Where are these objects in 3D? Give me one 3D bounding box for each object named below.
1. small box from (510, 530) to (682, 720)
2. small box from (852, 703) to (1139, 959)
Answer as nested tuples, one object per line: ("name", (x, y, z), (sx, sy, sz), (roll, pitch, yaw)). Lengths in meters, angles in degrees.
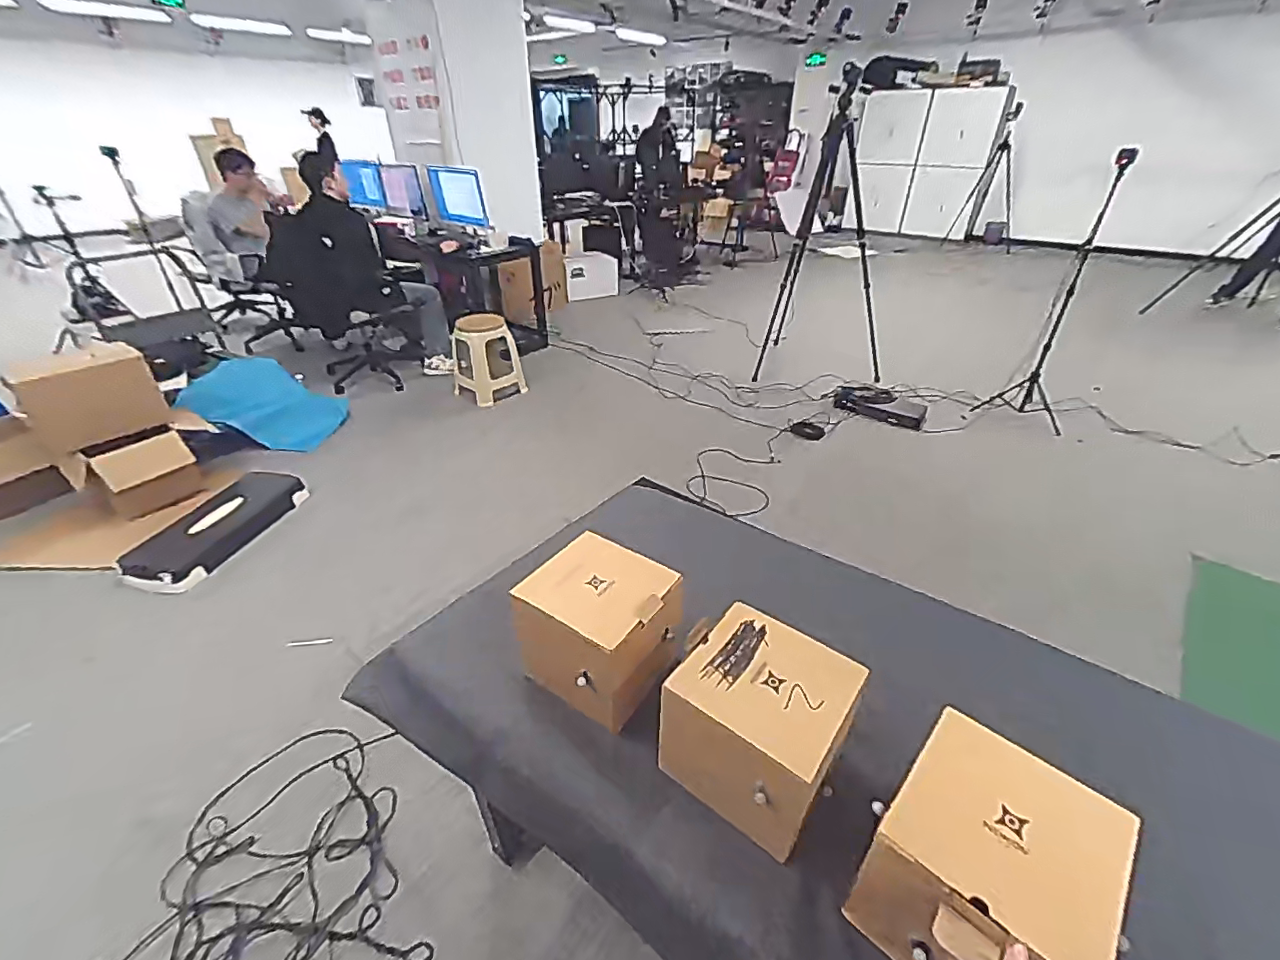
("small box", (-0.056, 0.205, 0.770), (0.179, 0.176, 0.168), (20, 37, 29))
("small box", (0.327, 0.366, 0.519), (0.168, 0.176, 0.179), (28, 43, 35))
